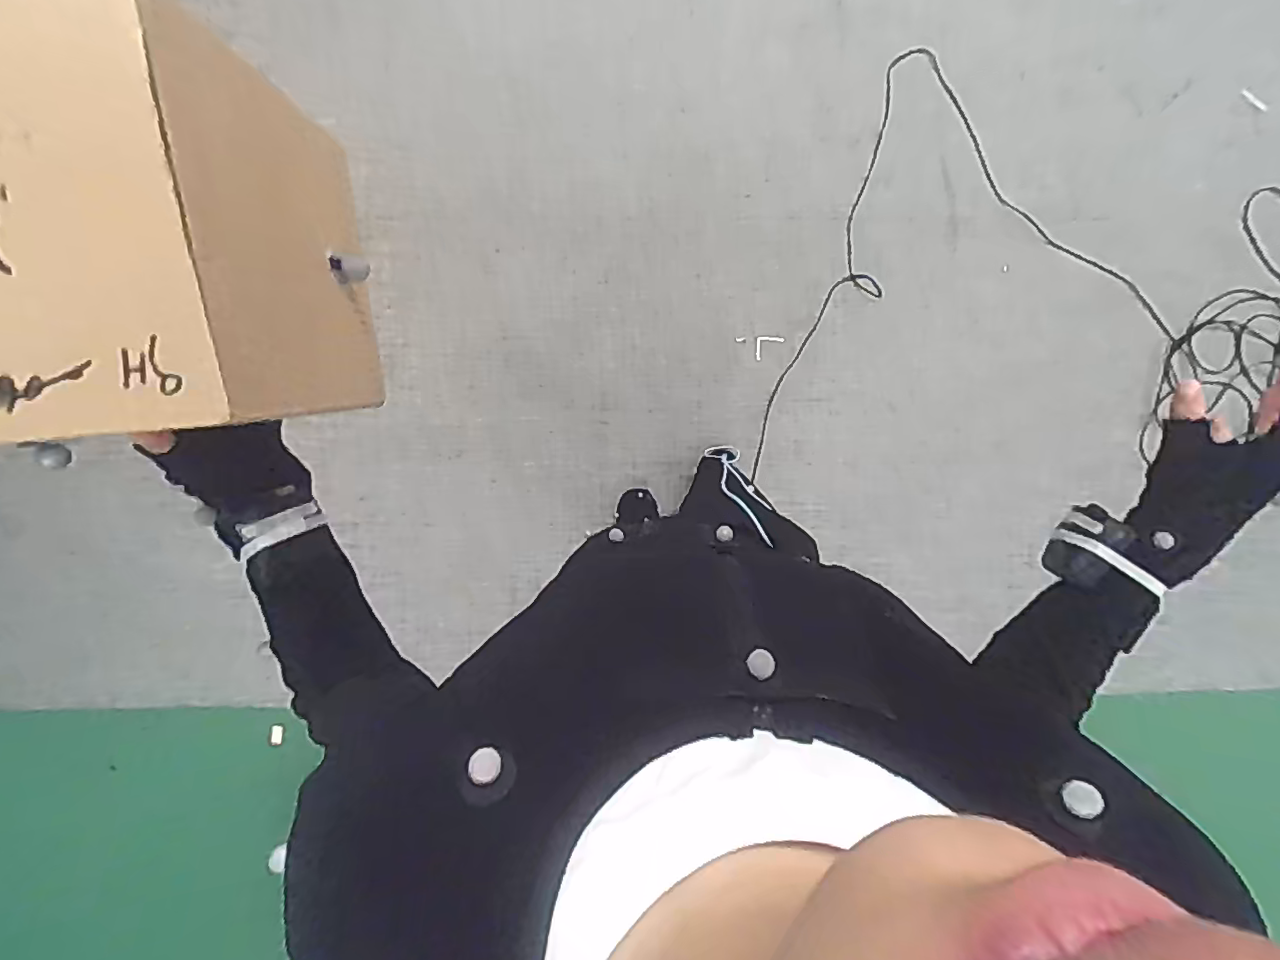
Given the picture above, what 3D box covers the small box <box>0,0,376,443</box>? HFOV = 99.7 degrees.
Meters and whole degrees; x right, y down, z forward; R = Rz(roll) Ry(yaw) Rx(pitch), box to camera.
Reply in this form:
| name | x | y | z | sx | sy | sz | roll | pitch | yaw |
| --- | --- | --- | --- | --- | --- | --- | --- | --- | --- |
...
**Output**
| name | x | y | z | sx | sy | sz | roll | pitch | yaw |
| --- | --- | --- | --- | --- | --- | --- | --- | --- | --- |
| small box | -0.267 | -0.115 | 0.288 | 0.168 | 0.176 | 0.179 | -6 | 101 | -2 |
